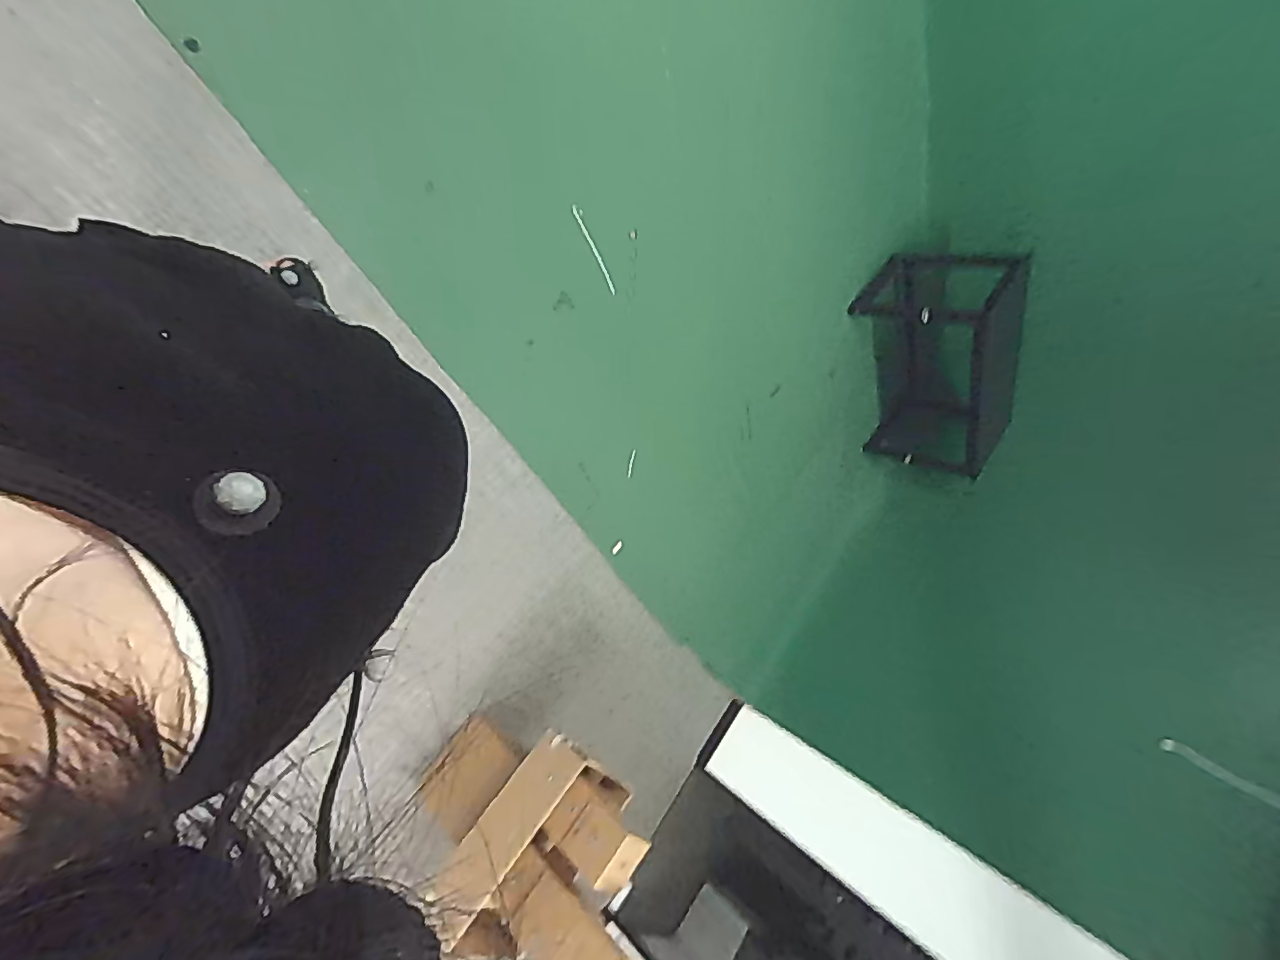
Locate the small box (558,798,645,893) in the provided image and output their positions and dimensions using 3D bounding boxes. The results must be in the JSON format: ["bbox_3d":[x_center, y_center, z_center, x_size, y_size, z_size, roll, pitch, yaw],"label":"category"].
[{"bbox_3d":[-0.123,1.125,1.672,0.168,0.176,0.179,-49,135,-18],"label":"small box"}]

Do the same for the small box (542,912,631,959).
[{"bbox_3d":[-0.153,1.357,1.504,0.179,0.176,0.168,-46,135,-24],"label":"small box"}]
